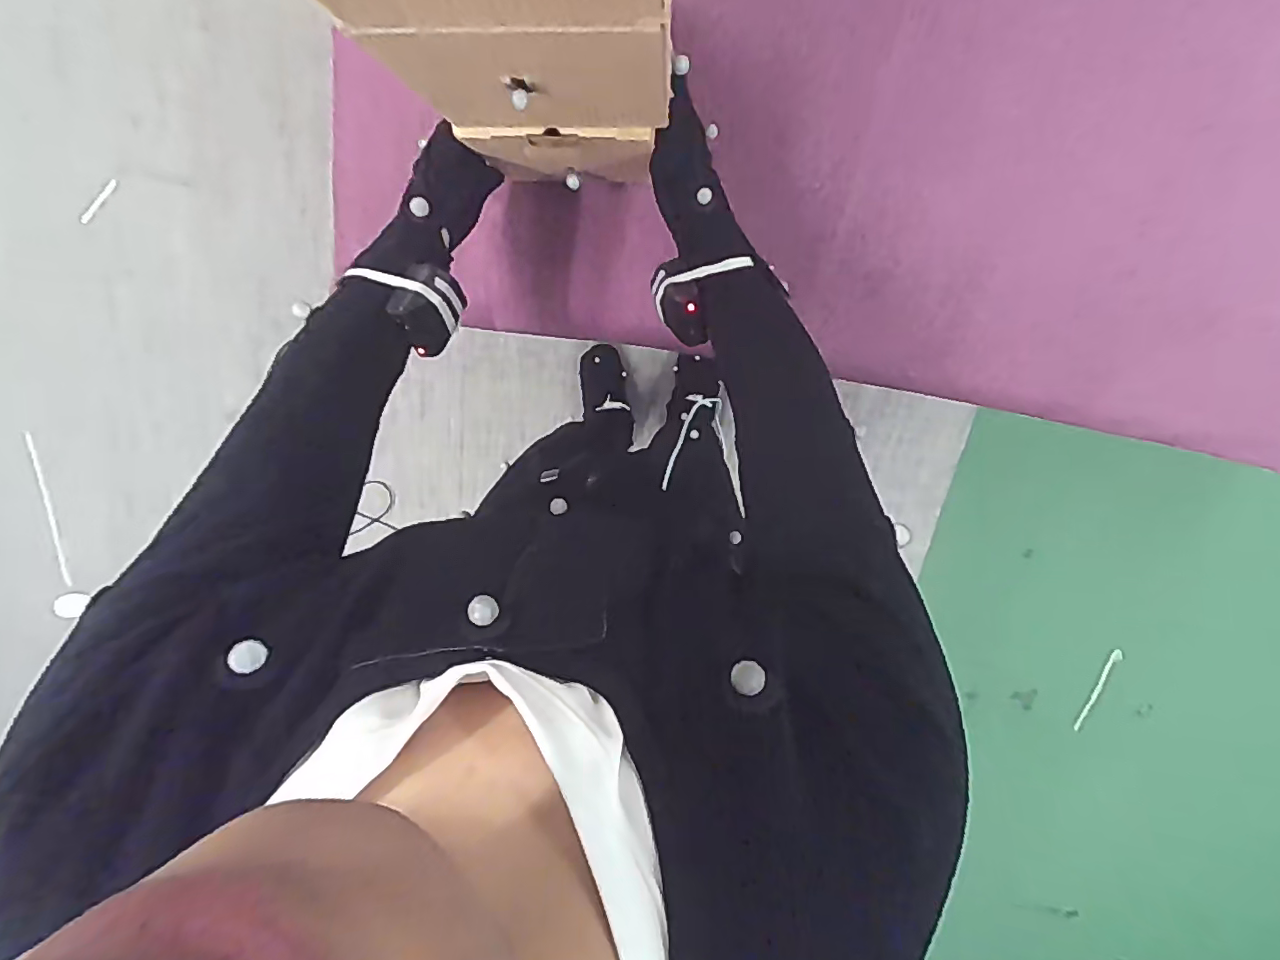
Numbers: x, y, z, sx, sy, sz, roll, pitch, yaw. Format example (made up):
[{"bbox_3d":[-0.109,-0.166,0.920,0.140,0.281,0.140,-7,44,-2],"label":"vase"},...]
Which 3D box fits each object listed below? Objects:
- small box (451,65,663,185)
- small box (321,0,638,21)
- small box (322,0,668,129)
[{"bbox_3d":[-0.065,-0.385,0.490,0.168,0.176,0.179,3,109,3],"label":"small box"},{"bbox_3d":[-0.081,-0.288,0.177,0.179,0.176,0.168,2,108,3],"label":"small box"},{"bbox_3d":[-0.068,-0.336,0.330,0.179,0.176,0.168,5,106,2],"label":"small box"}]
